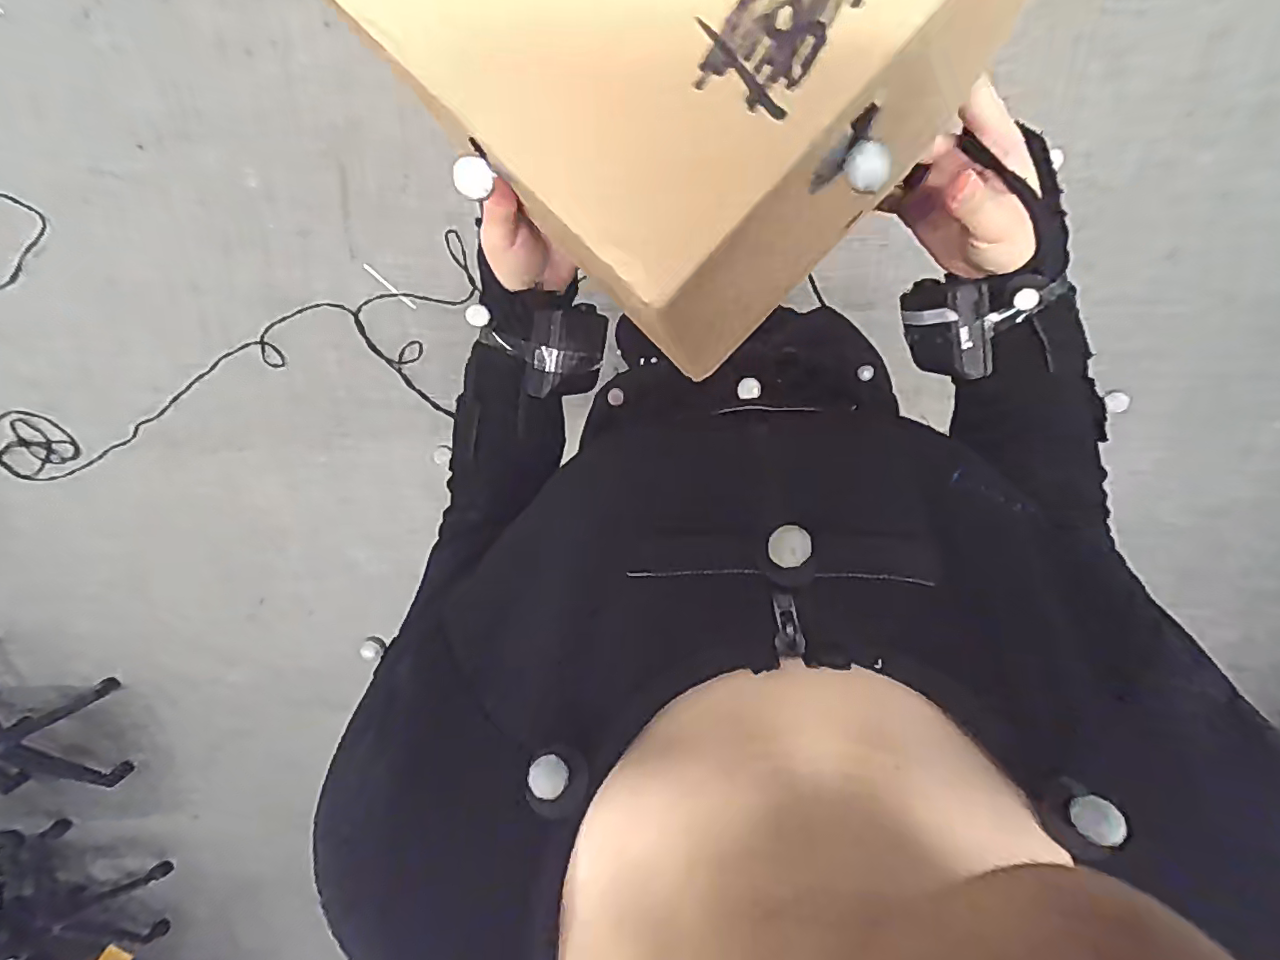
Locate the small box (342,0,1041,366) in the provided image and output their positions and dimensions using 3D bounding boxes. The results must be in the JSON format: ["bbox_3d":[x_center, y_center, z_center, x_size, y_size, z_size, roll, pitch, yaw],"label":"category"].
[{"bbox_3d":[0.019,-0.164,0.208,0.179,0.176,0.168,45,101,5],"label":"small box"}]
